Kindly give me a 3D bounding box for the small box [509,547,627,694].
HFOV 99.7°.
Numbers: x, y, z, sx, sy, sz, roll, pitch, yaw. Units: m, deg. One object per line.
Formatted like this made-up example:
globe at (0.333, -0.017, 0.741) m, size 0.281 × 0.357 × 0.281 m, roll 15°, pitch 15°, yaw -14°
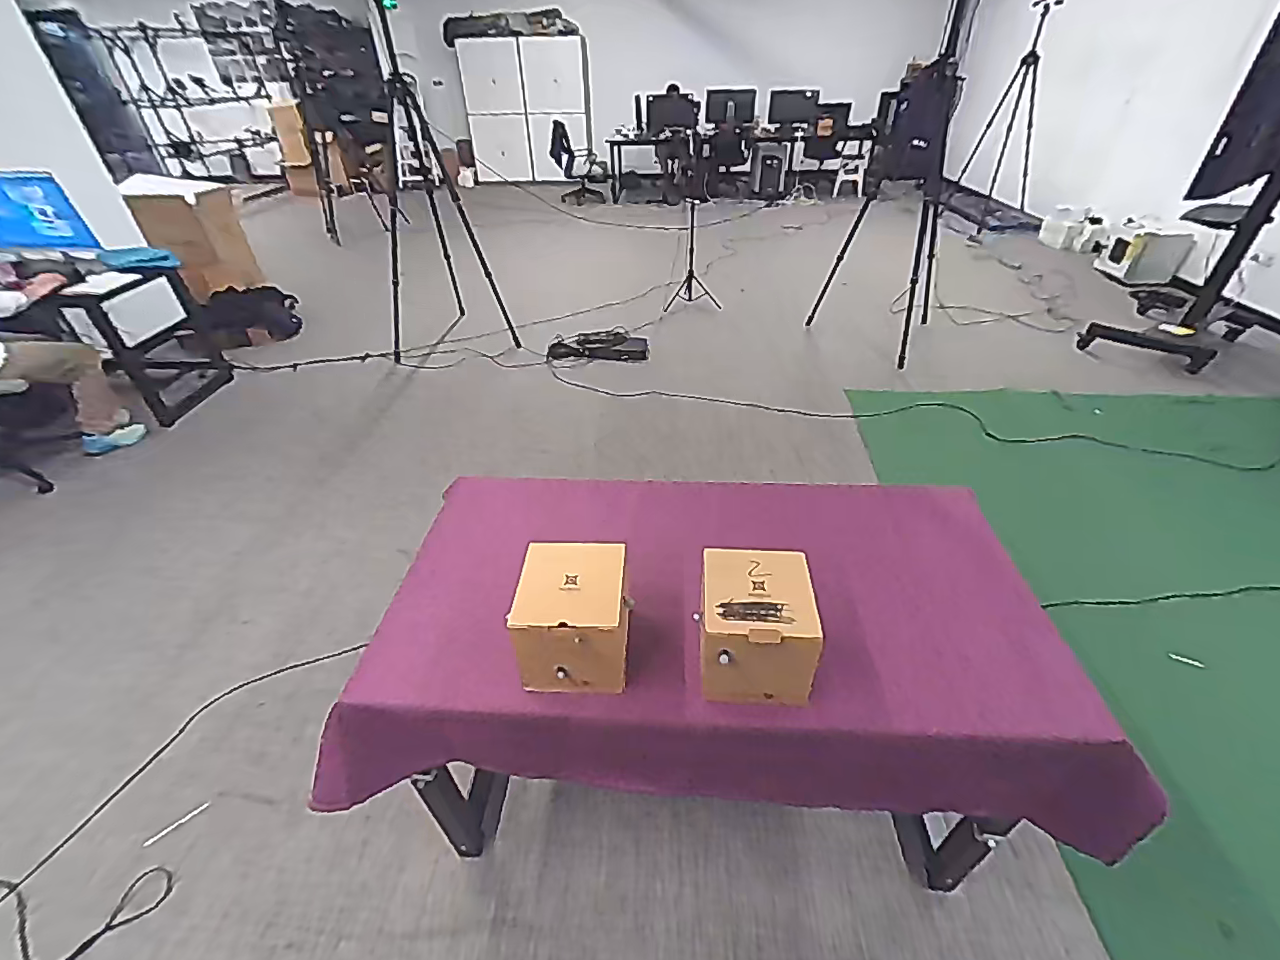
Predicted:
small box at (-0.110, 0.234, 0.911) m, size 0.168 × 0.176 × 0.179 m, roll 0°, pitch 38°, yaw 2°
